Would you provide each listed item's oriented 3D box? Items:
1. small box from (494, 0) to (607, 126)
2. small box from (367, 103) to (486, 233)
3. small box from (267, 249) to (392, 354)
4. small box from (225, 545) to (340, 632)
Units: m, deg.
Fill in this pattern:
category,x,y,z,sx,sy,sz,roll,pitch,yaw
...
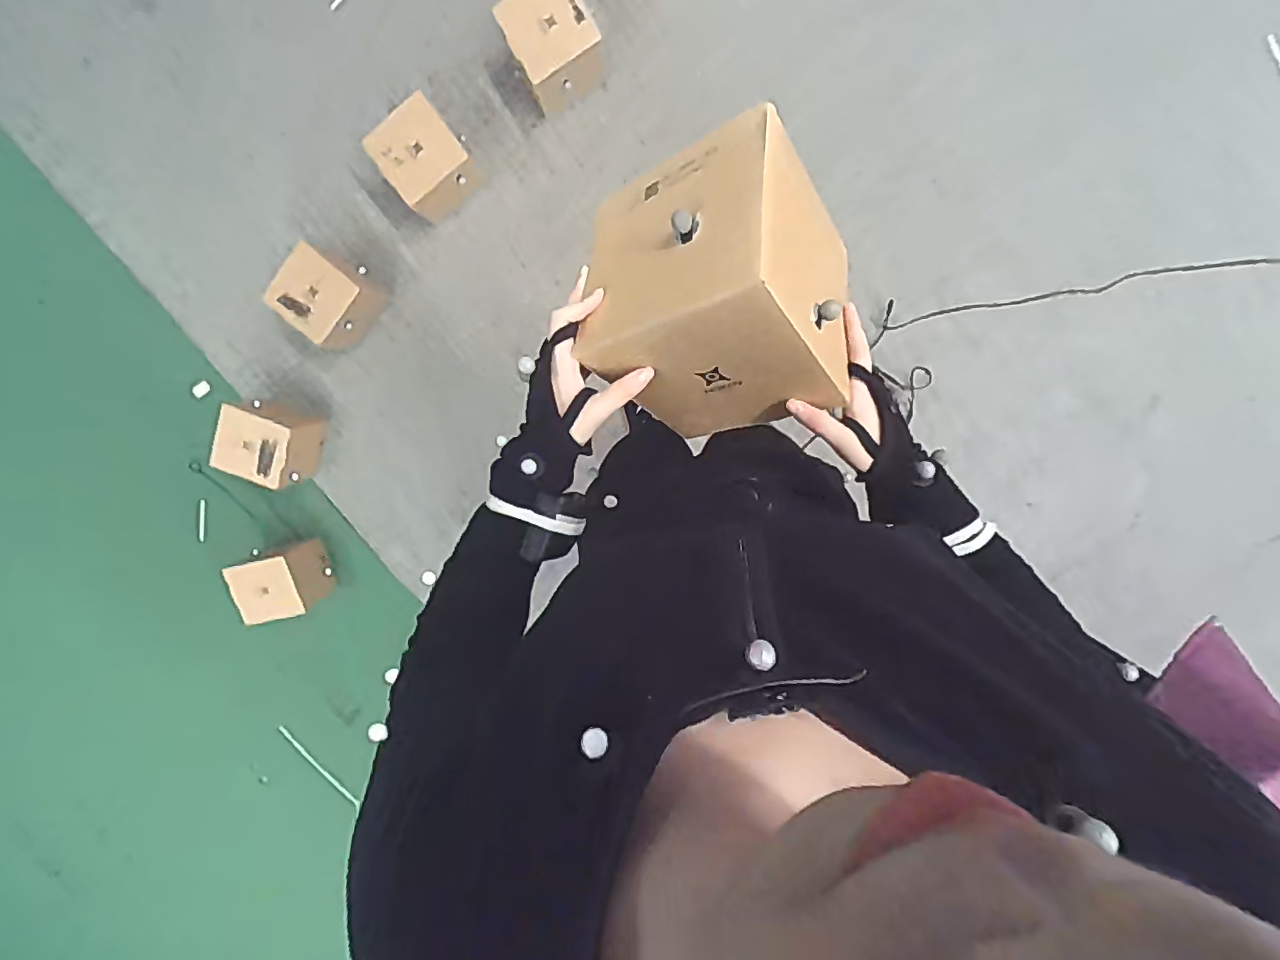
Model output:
category,x,y,z,sx,sy,sz,roll,pitch,yaw
small box,-0.189,-0.942,1.209,0.179,0.176,0.168,-30,100,7
small box,-0.483,-0.715,1.261,0.179,0.176,0.168,-36,98,8
small box,-0.749,-0.425,1.326,0.168,0.176,0.179,41,99,-7
small box,-0.971,0.292,1.482,0.179,0.176,0.168,-12,102,4
